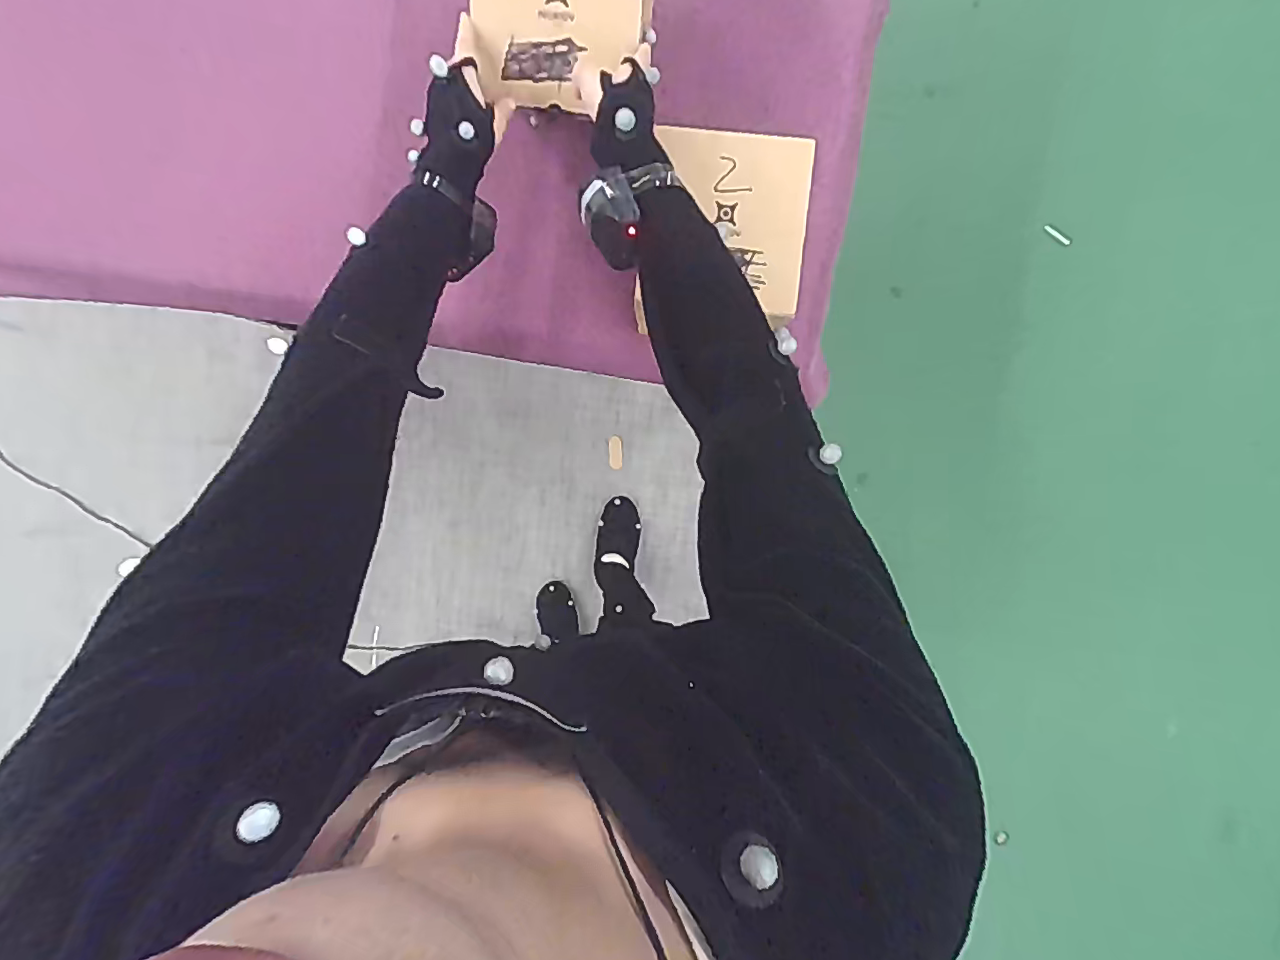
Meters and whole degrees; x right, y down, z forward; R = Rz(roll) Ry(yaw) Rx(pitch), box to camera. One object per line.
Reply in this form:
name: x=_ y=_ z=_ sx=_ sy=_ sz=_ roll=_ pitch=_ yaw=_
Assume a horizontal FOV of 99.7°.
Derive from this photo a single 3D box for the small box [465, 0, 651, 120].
small box: x=-0.076 y=-0.491 z=0.567 sx=0.168 sy=0.176 sz=0.179 roll=7 pitch=122 yaw=-1
